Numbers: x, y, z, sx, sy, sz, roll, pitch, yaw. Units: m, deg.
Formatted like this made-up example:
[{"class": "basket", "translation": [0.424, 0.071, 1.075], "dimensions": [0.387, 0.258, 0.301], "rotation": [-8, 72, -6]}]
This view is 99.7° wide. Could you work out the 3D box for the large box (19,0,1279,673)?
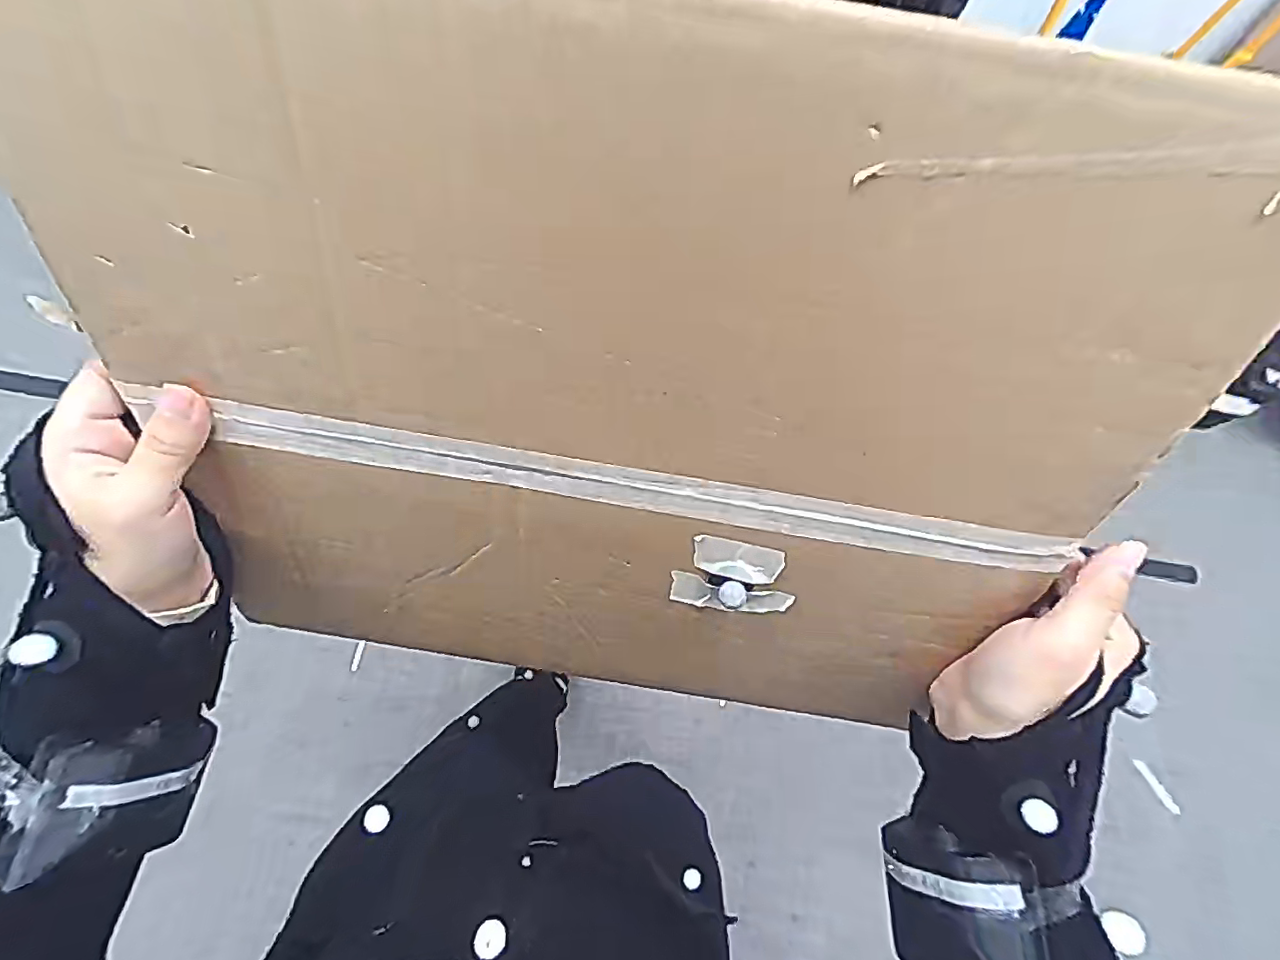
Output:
[{"class": "large box", "translation": [0.009, -0.121, 0.346], "dimensions": [0.408, 0.320, 0.320], "rotation": [9, 39, -1]}]
